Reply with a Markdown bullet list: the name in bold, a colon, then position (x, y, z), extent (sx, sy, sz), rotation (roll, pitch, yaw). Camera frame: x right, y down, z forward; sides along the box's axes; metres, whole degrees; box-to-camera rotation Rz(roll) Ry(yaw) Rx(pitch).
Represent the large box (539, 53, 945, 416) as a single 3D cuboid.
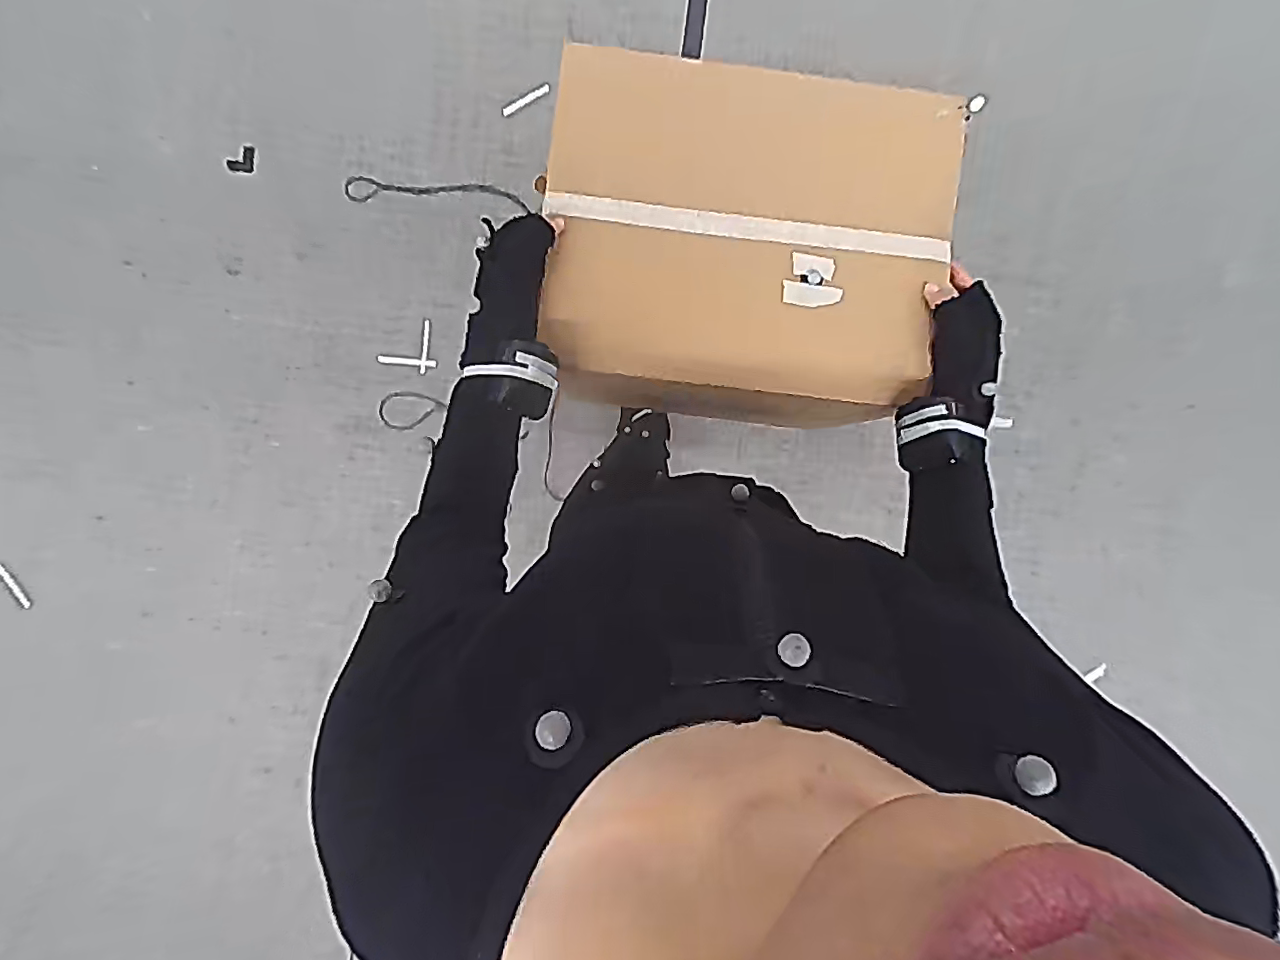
- **large box**: position (0.099, -0.267, 0.703), extent (0.408, 0.320, 0.320), rotation (6, 92, -2)
